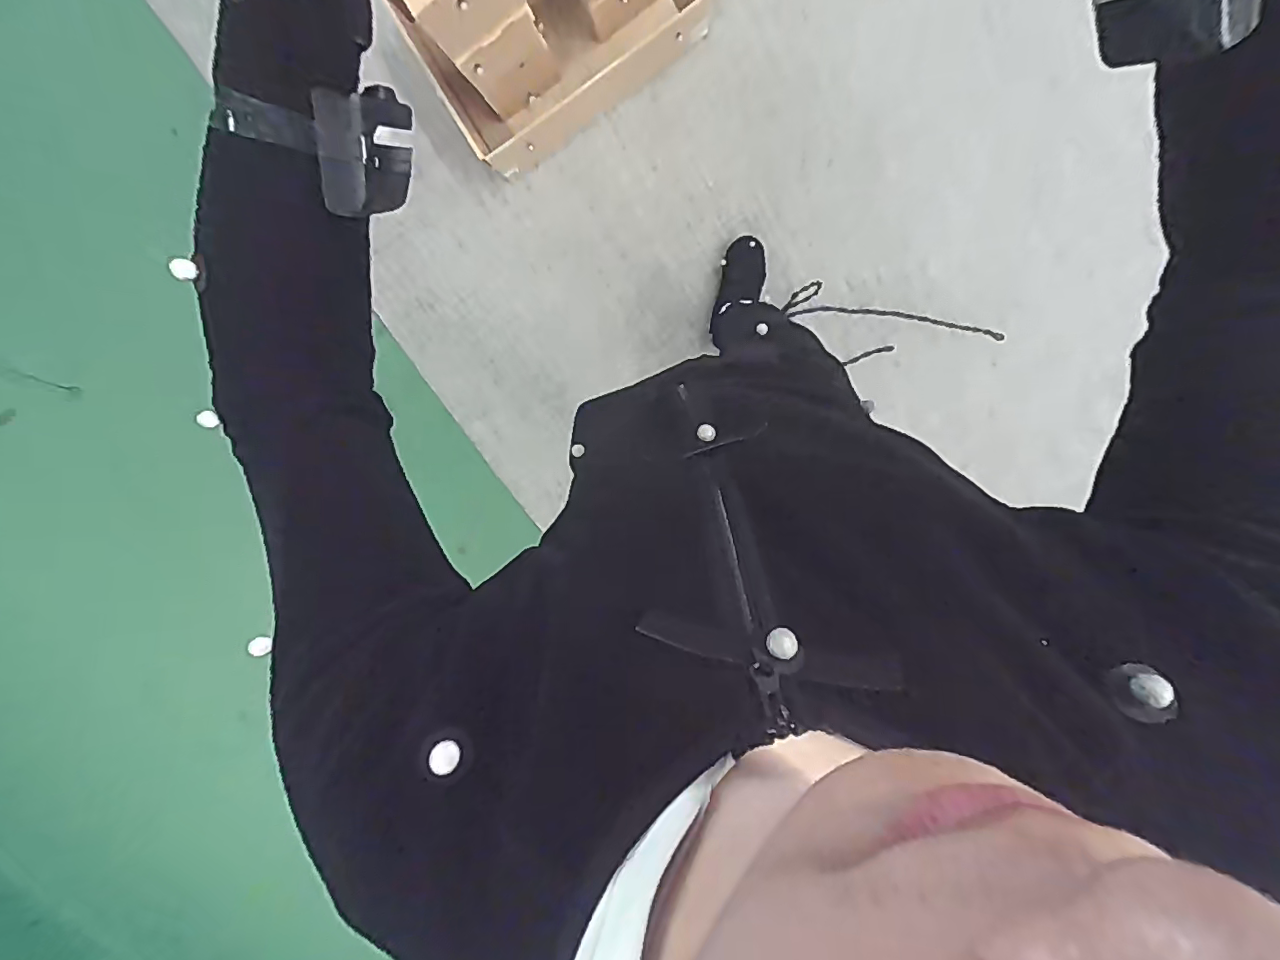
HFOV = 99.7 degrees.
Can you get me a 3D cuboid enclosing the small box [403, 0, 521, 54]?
[{"bbox_3d":[-0.322,-0.870,0.902,0.179,0.176,0.168,-28,104,12],"label":"small box"}]
